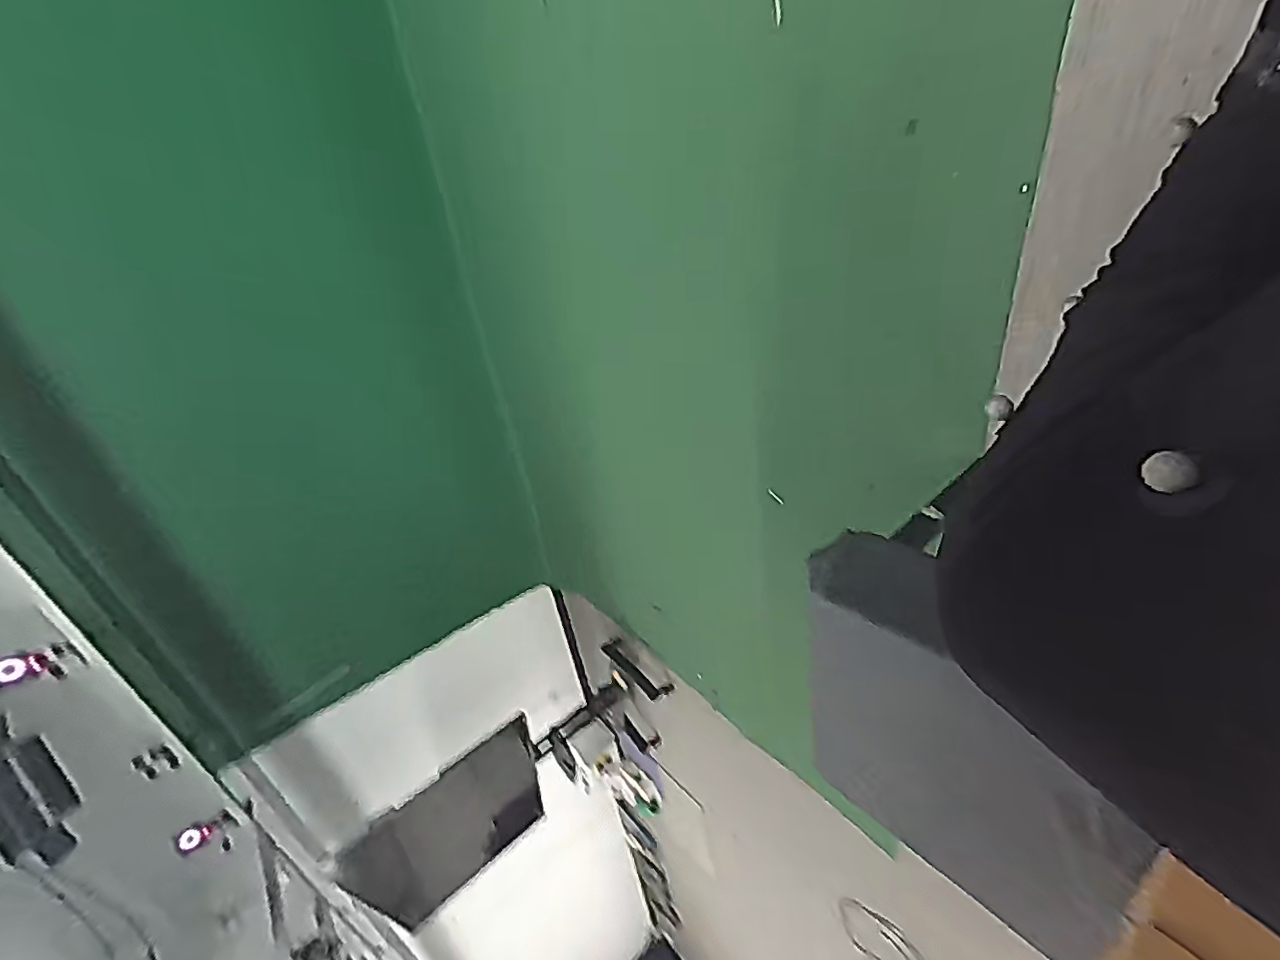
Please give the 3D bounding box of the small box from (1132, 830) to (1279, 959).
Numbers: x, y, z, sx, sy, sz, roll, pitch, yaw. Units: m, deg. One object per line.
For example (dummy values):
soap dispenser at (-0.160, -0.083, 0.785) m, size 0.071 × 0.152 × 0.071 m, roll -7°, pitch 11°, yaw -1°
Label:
small box at (0.724, 0.583, 0.657) m, size 0.168 × 0.176 × 0.179 m, roll 22°, pitch 131°, yaw 48°

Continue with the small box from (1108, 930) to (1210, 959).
small box at (0.594, 0.635, 0.574) m, size 0.179 × 0.176 × 0.168 m, roll 27°, pitch 137°, yaw 44°
